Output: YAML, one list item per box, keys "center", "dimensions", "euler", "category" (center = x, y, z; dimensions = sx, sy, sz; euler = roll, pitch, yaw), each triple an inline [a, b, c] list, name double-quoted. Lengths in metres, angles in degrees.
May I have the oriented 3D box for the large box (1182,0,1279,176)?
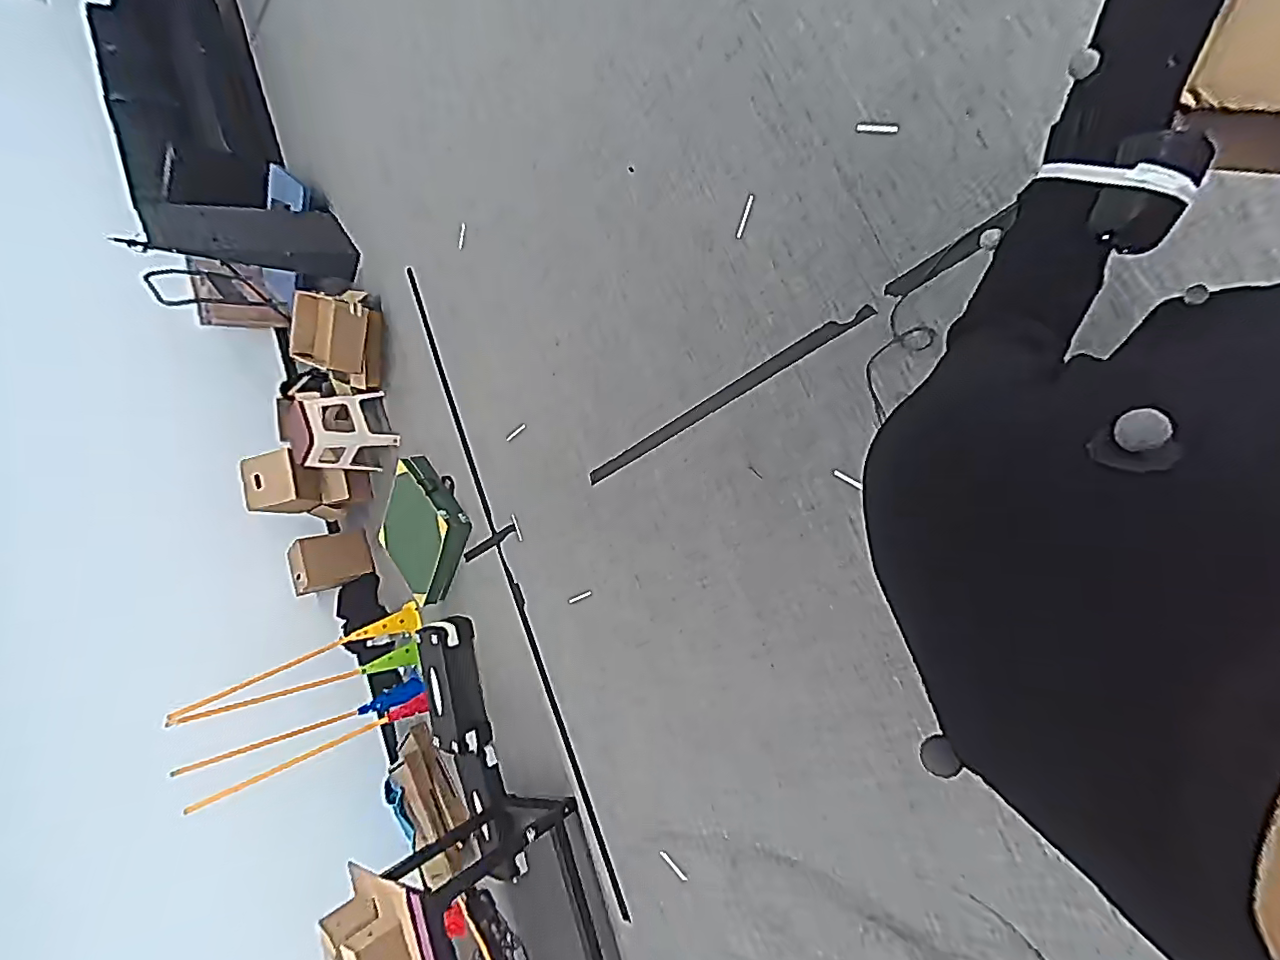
- center: [0.607, -0.334, 0.267]
  dimensions: [0.408, 0.320, 0.320]
  euler: [30, 126, 34]
  category: "large box"
